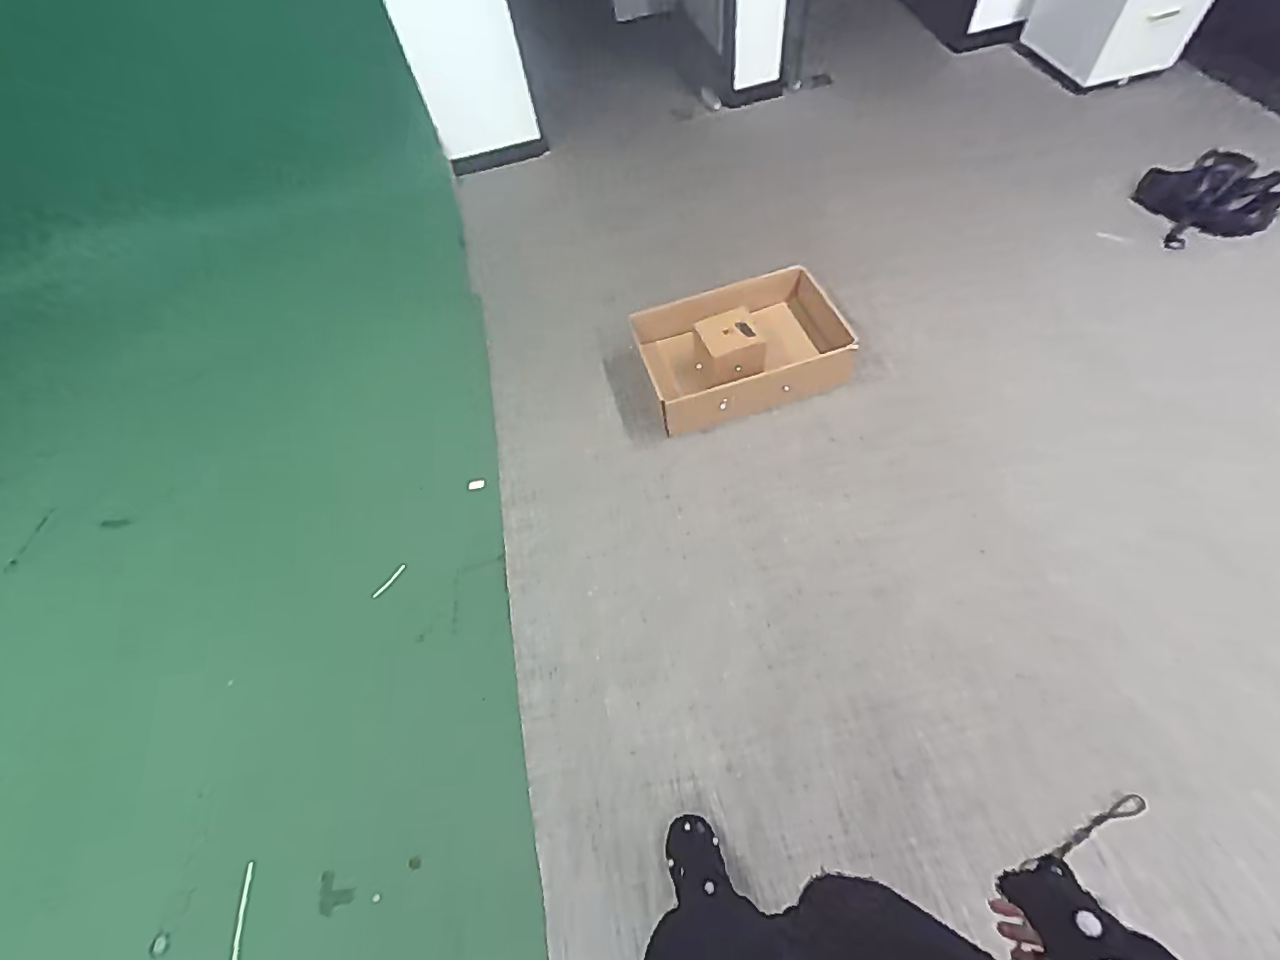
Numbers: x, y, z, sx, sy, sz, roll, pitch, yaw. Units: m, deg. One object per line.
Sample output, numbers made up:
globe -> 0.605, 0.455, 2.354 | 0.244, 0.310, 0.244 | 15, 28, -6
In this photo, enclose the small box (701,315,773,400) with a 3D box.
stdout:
small box -> 0.300, -0.382, 1.701 | 0.179, 0.176, 0.168 | -19, 57, -3
